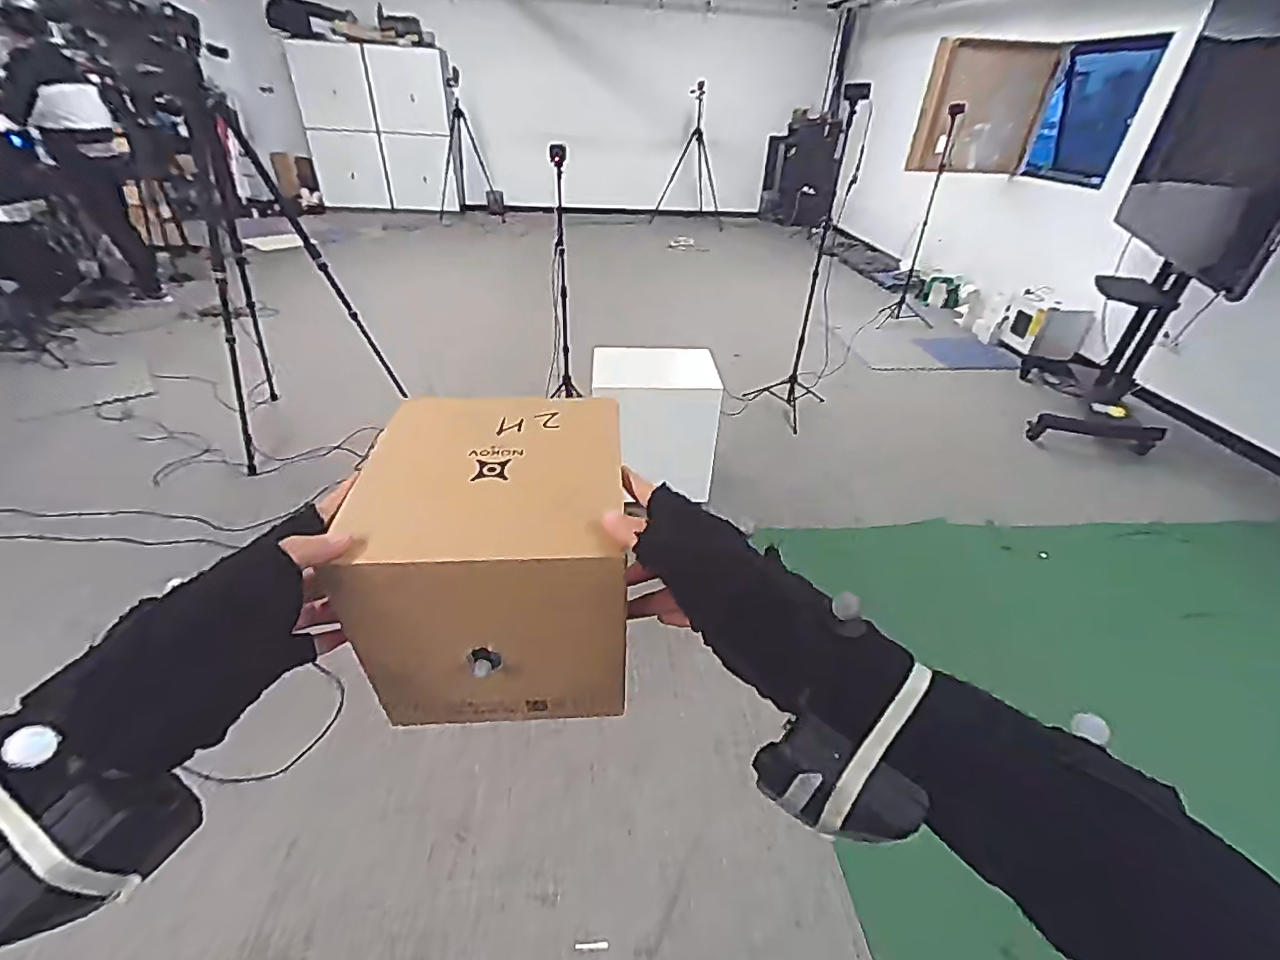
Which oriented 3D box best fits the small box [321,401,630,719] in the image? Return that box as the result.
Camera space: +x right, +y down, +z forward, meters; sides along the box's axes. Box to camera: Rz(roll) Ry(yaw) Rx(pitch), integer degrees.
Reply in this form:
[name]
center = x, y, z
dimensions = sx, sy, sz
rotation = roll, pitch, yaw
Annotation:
[small box]
center = -0.092, 0.058, 0.397
dimensions = 0.168, 0.176, 0.179
rotation = 0, 38, -4
